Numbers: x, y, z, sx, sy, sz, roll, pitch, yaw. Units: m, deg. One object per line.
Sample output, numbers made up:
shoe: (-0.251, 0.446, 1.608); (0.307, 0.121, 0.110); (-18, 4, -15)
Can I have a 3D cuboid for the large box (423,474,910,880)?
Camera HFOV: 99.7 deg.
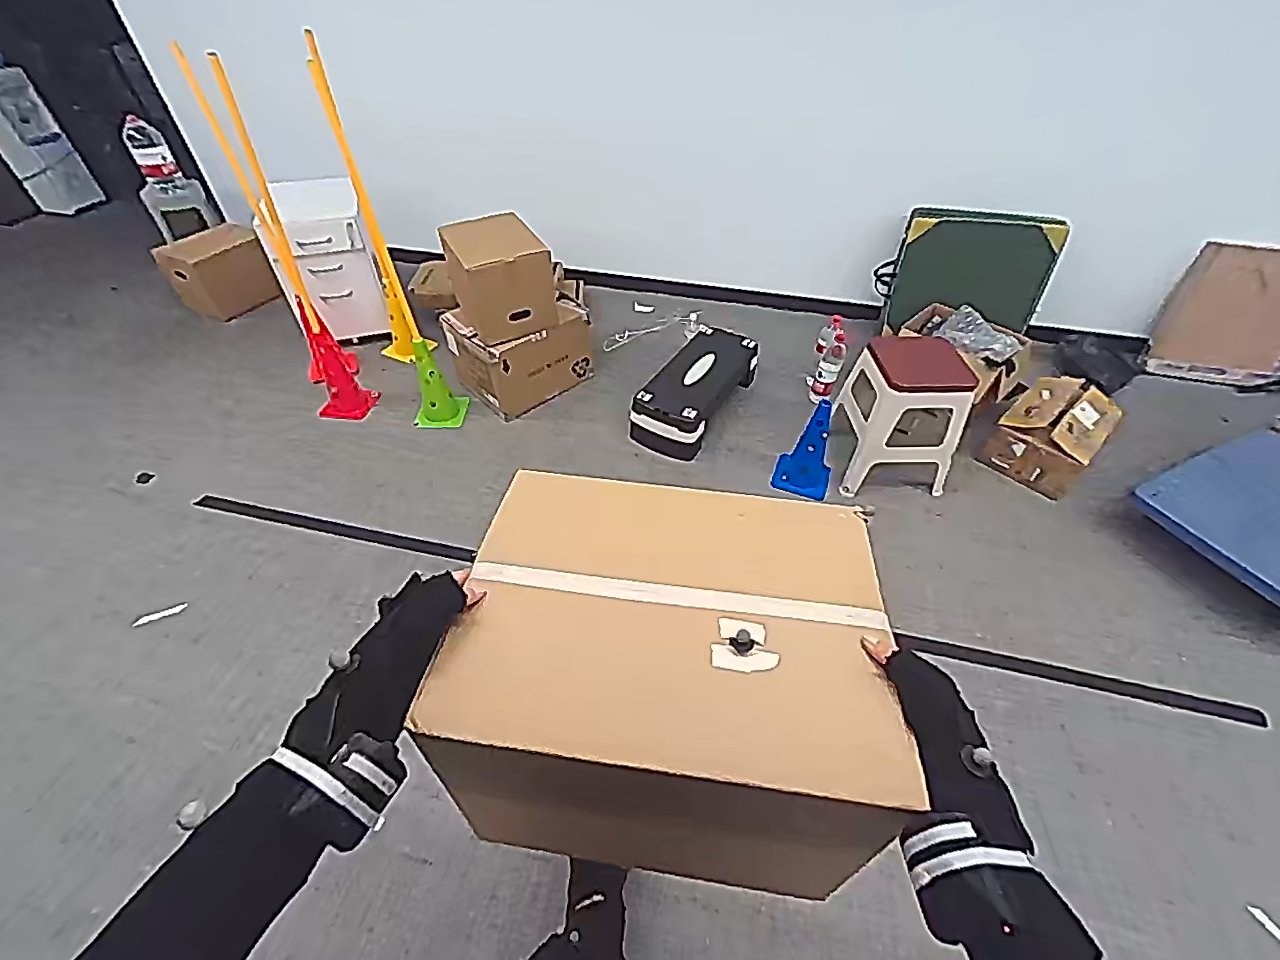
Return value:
large box: (0.028, 0.223, 0.639); (0.408, 0.320, 0.320); (7, 43, 5)
